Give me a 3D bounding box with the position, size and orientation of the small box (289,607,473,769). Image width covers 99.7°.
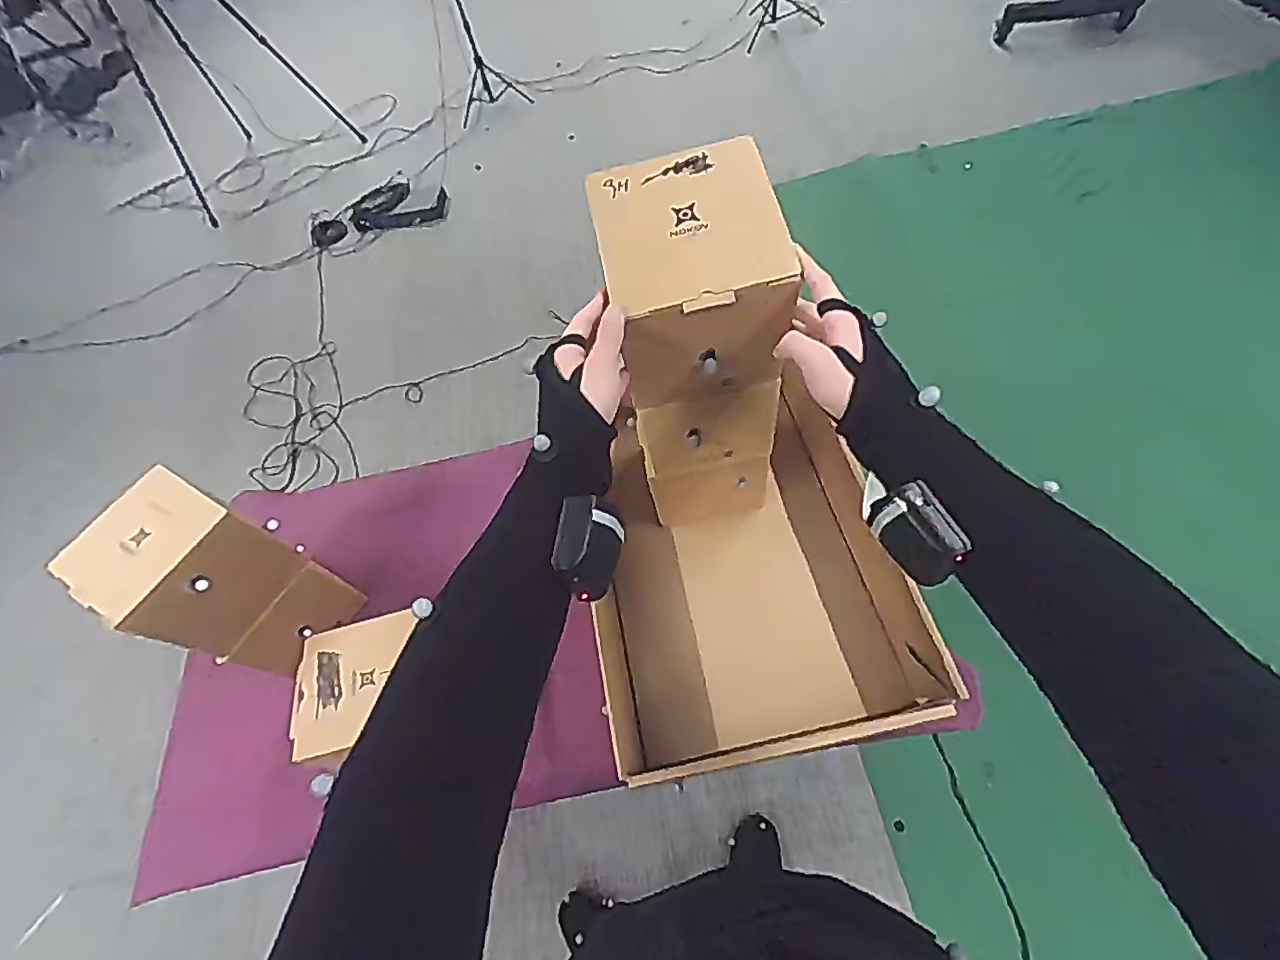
[{"bbox_3d":[-0.363,0.308,0.787,0.179,0.176,0.168,-15,58,-1],"label":"small box"}]

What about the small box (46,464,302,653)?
[{"bbox_3d":[-0.628,0.115,0.752,0.168,0.176,0.179,25,67,20],"label":"small box"}]

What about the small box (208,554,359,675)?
[{"bbox_3d":[-0.611,0.201,0.890,0.179,0.176,0.168,25,66,21],"label":"small box"}]

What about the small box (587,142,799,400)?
[{"bbox_3d":[0.051,-0.198,0.561,0.168,0.176,0.179,-12,70,2],"label":"small box"}]

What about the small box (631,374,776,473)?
[{"bbox_3d":[0.075,-0.124,0.719,0.168,0.176,0.179,-12,60,3],"label":"small box"}]
